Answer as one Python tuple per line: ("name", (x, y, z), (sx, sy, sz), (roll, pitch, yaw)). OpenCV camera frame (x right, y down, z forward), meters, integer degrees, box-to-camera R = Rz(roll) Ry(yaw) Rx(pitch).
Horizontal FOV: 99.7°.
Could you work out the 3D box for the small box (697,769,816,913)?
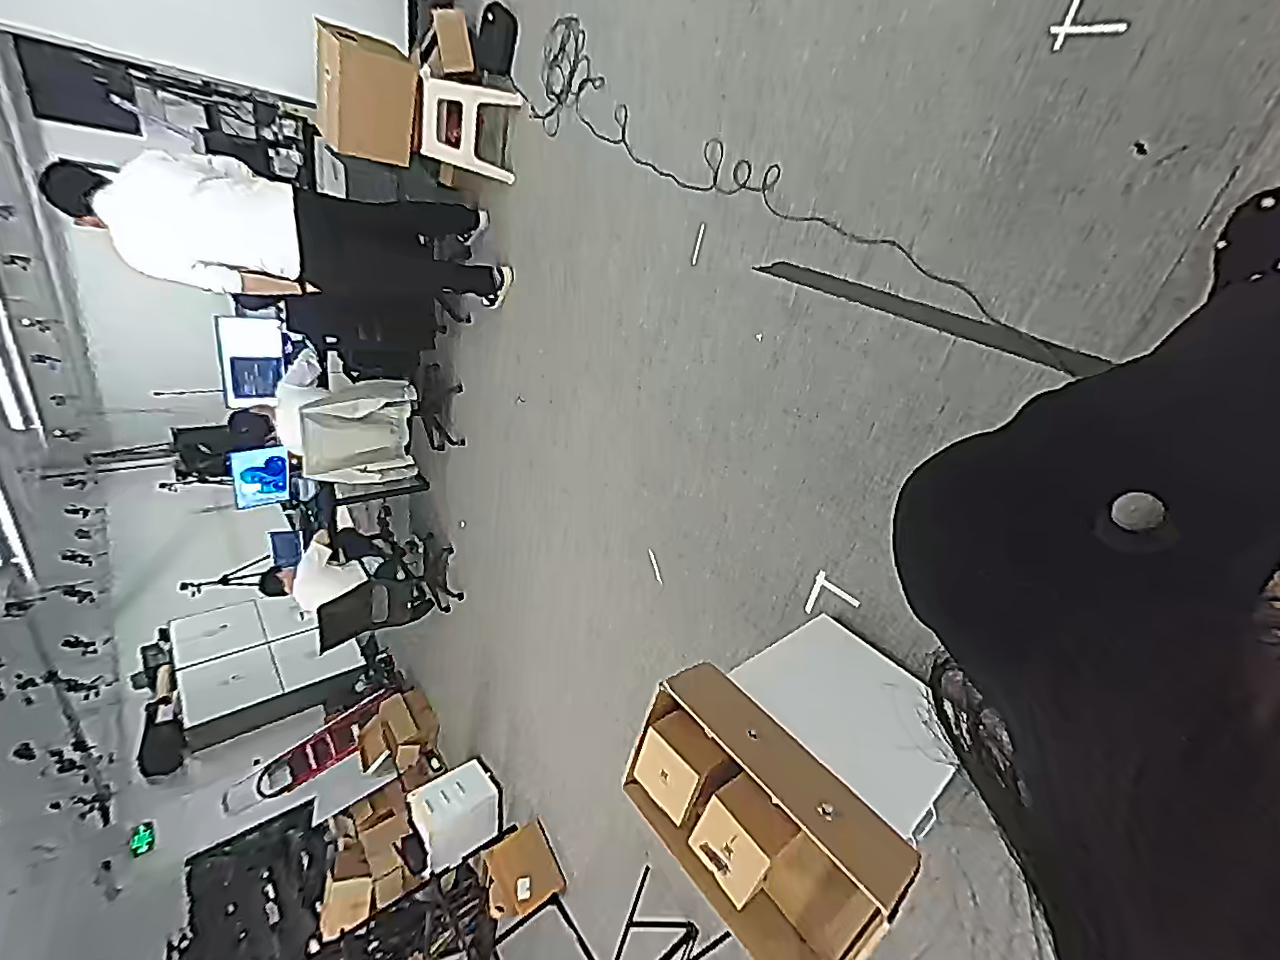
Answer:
("small box", (0.263, 0.796, 1.207), (0.168, 0.176, 0.179), (37, 120, 38))
